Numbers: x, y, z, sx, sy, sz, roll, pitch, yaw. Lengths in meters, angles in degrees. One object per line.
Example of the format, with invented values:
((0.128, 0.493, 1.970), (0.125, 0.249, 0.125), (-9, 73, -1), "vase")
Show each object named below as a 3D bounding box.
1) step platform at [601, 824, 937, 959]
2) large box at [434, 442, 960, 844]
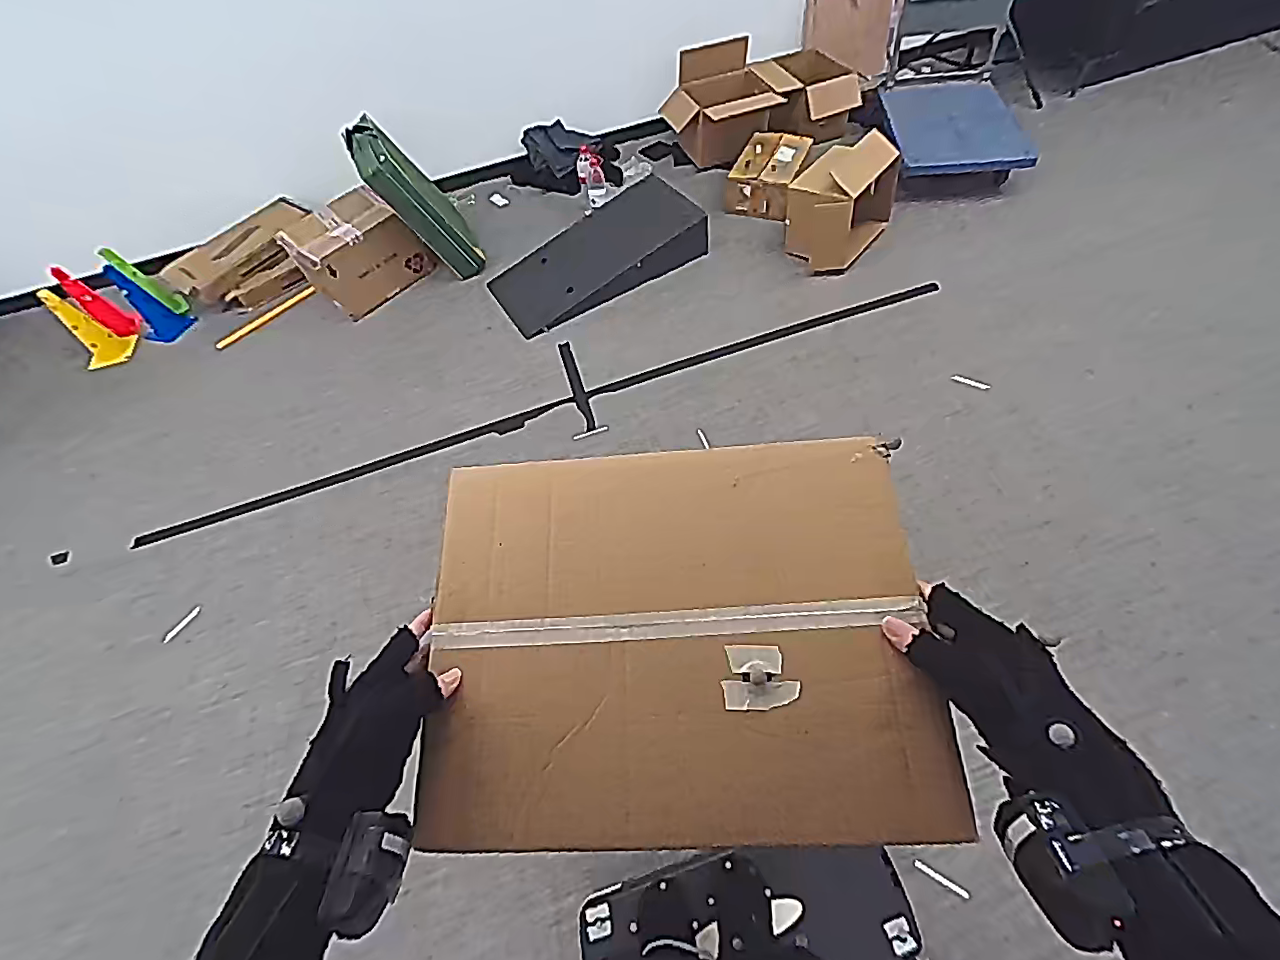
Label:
((0.260, 0.937, 1.170), (0.684, 0.204, 0.286), (-18, 56, -5), "step platform")
((0.042, 0.179, 0.596), (0.408, 0.320, 0.320), (-4, 68, 4), "large box")
